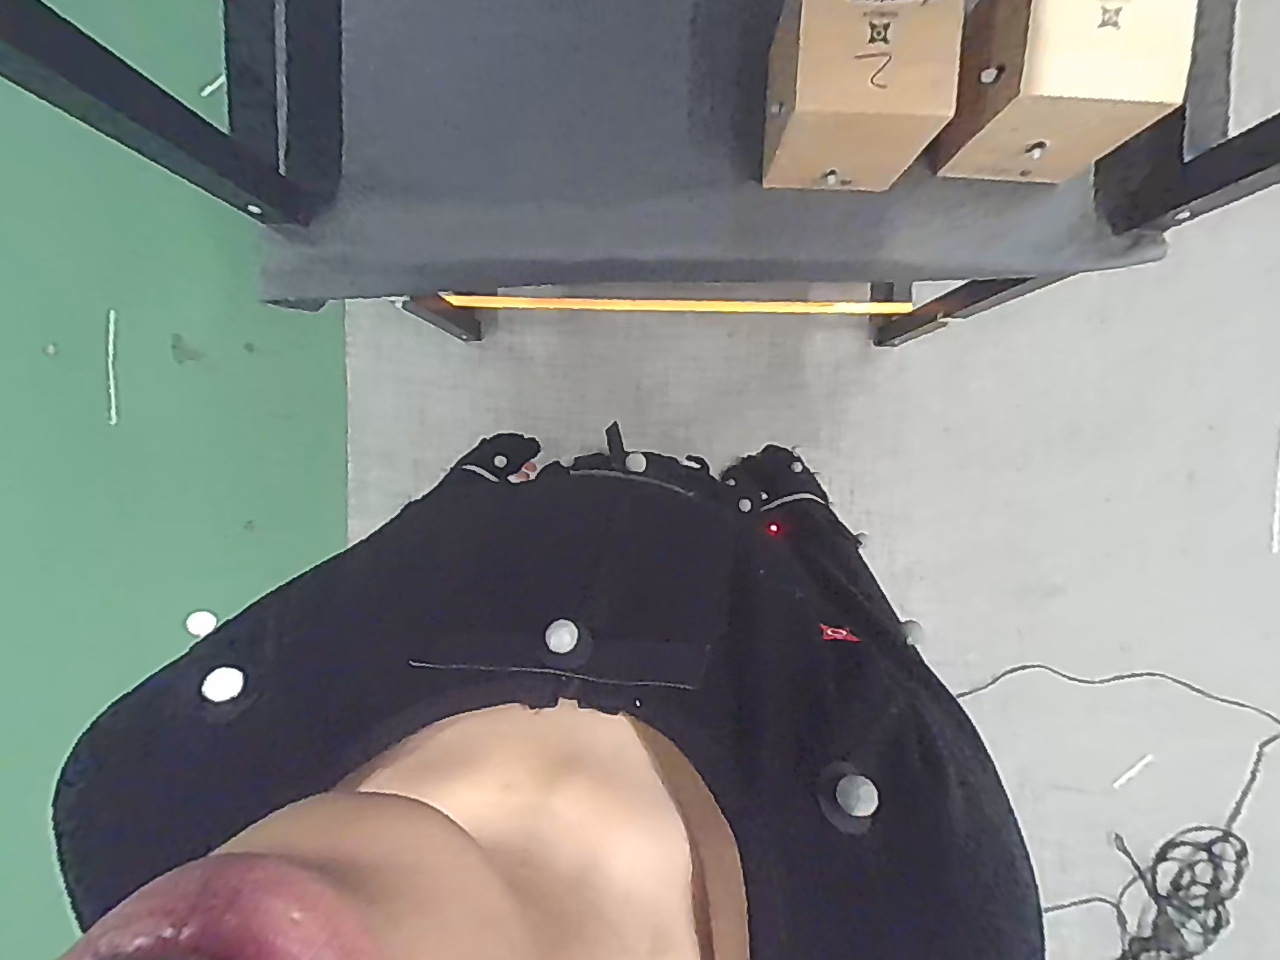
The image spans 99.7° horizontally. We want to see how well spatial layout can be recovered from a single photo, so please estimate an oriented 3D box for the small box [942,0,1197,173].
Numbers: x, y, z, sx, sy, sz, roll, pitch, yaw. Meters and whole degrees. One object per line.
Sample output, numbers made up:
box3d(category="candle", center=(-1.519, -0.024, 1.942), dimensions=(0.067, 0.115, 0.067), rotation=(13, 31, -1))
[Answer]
box3d(category="small box", center=(0.476, -0.482, 0.623), dimensions=(0.168, 0.176, 0.179), rotation=(4, 93, 1))
